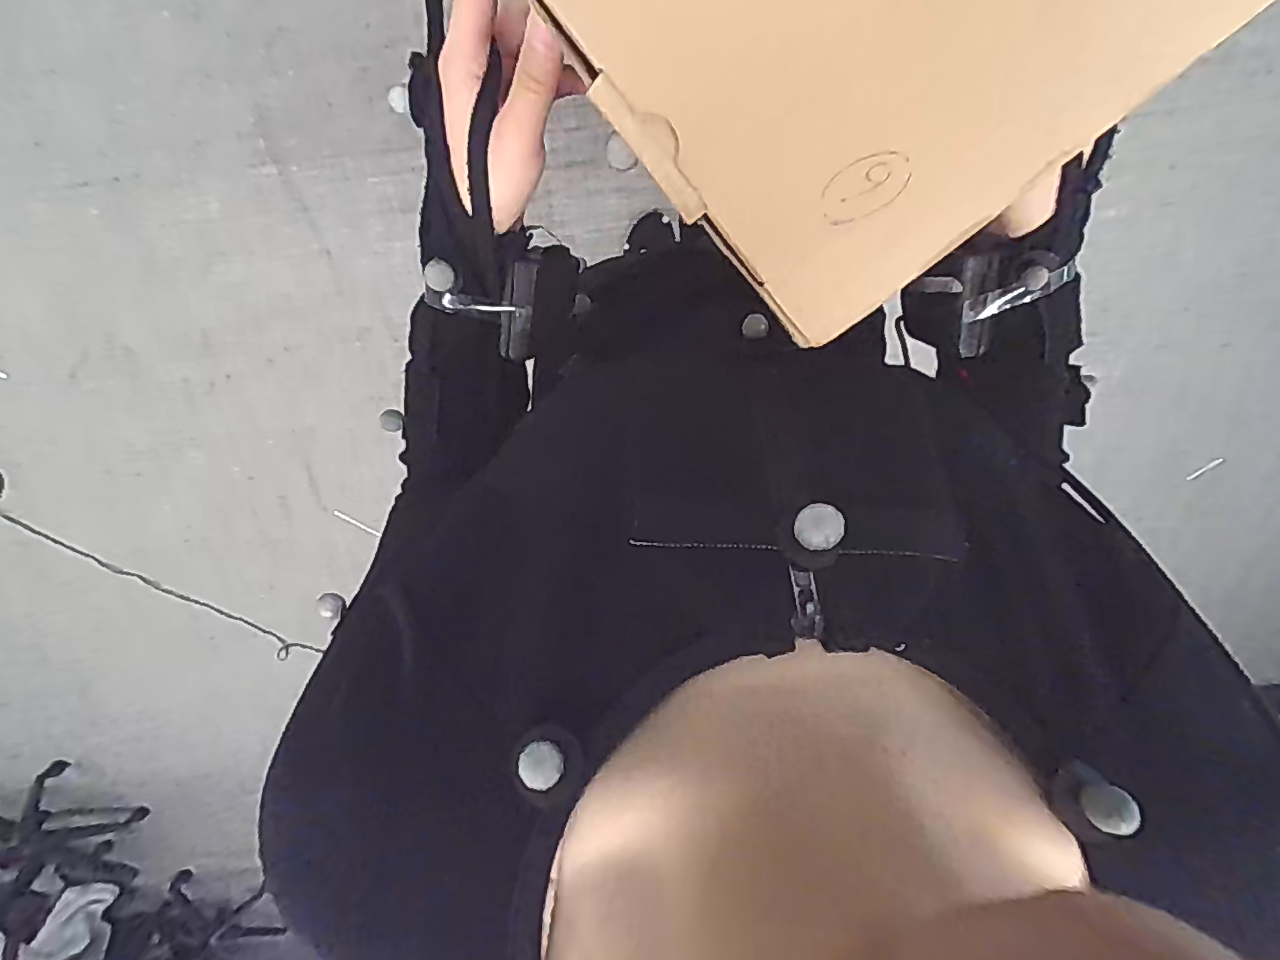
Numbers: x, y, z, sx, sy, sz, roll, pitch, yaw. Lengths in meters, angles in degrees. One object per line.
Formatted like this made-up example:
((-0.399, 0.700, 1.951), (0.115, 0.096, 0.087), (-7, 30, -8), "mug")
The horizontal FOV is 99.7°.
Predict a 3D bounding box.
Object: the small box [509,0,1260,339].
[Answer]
((0.062, -0.188, 0.186), (0.179, 0.176, 0.168), (-37, 118, 23), "small box")
